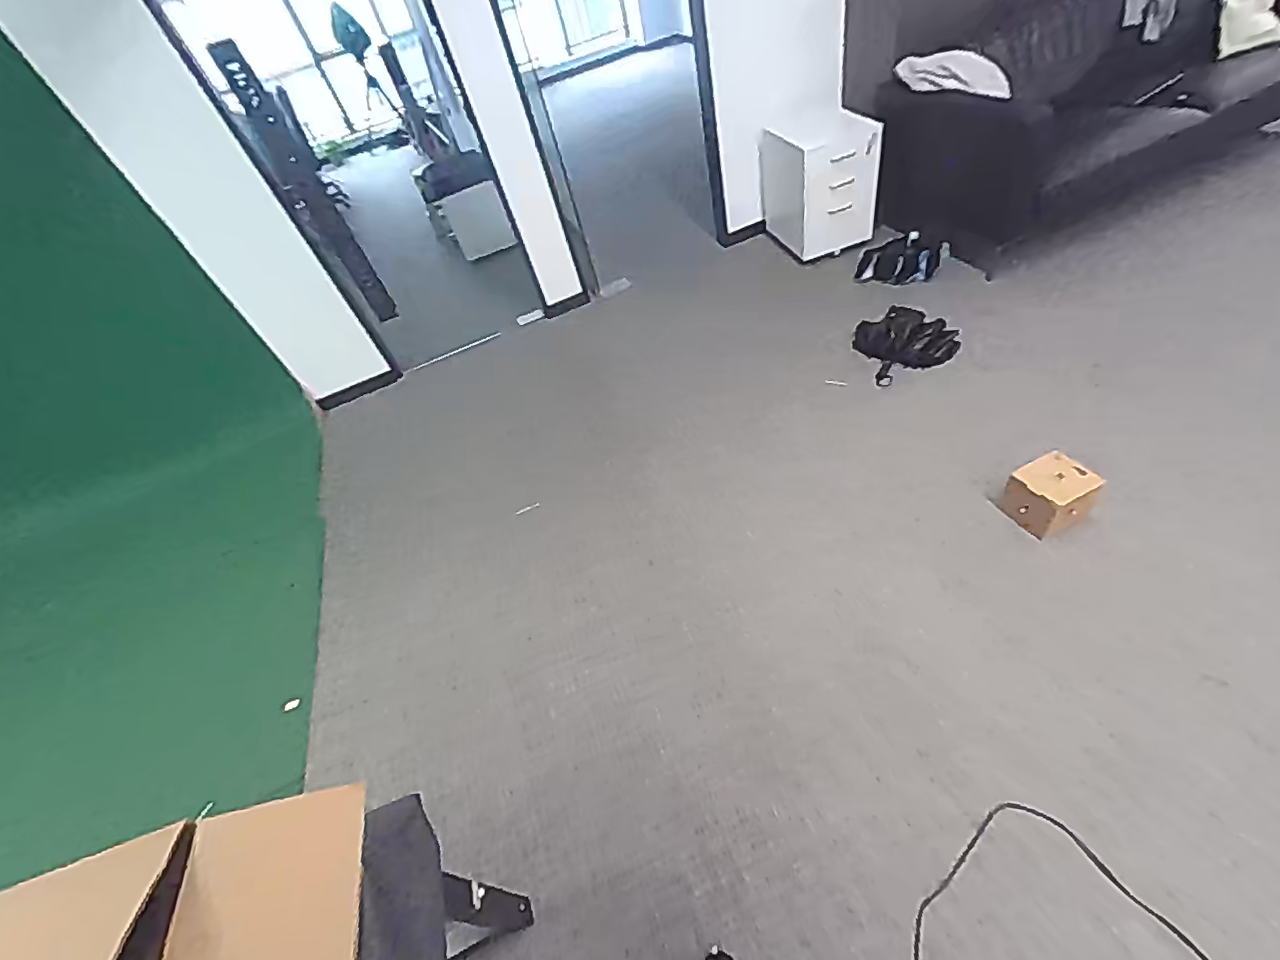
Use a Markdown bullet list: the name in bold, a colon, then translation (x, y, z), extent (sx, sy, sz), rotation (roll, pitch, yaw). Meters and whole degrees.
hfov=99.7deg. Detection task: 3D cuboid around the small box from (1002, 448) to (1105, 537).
- **small box**: translation (1.238, 0.041, 1.638), extent (0.179, 0.176, 0.168), rotation (-26, 47, -7)
